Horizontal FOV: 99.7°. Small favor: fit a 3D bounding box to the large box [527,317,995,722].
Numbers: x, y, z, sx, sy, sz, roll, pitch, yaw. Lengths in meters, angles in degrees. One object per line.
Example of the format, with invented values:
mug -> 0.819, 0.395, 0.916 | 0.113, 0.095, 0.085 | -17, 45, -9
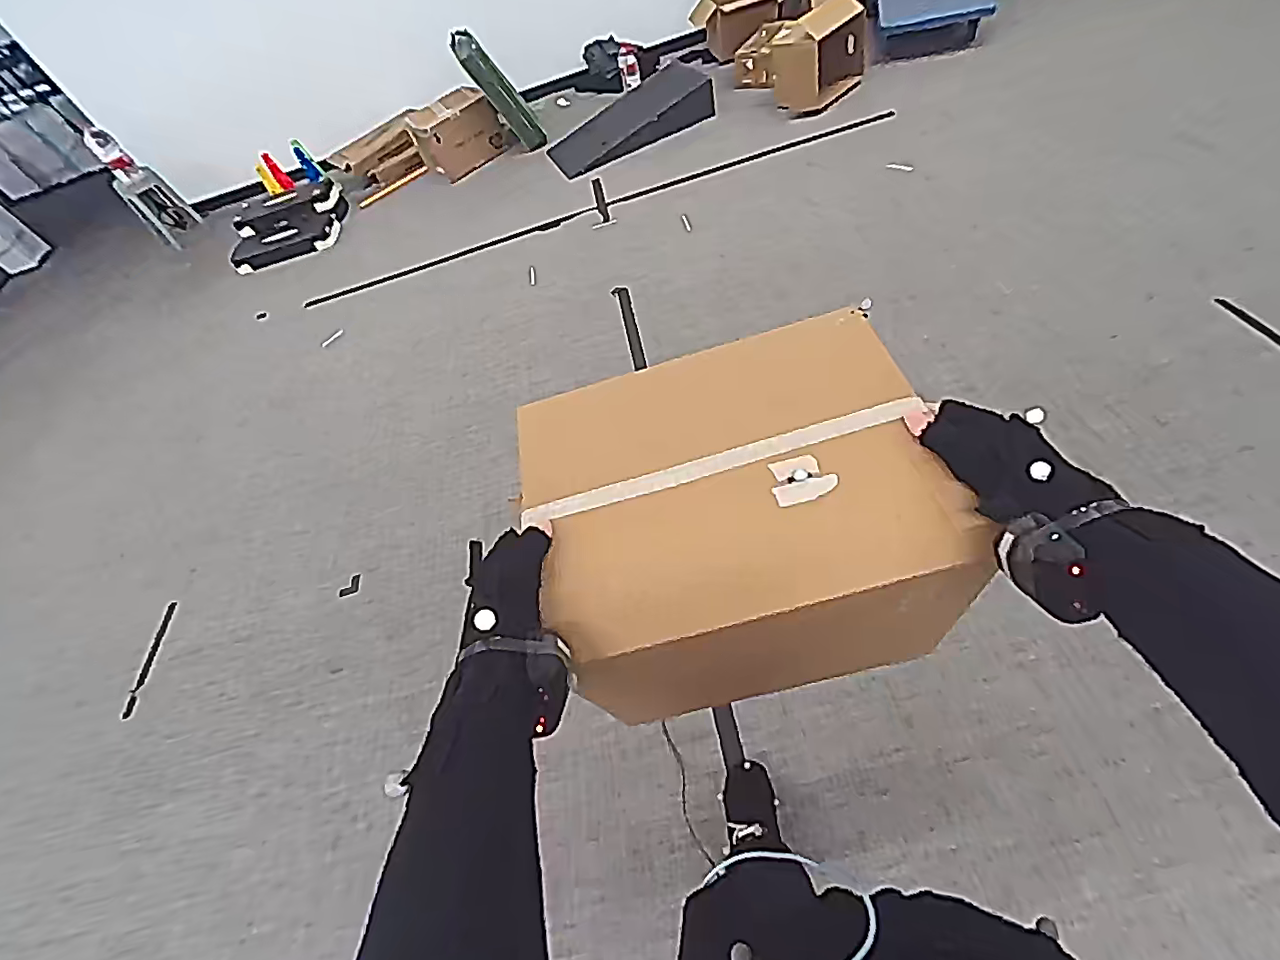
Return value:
large box -> 0.113, 0.068, 0.671 | 0.408, 0.320, 0.320 | -16, 56, 4
